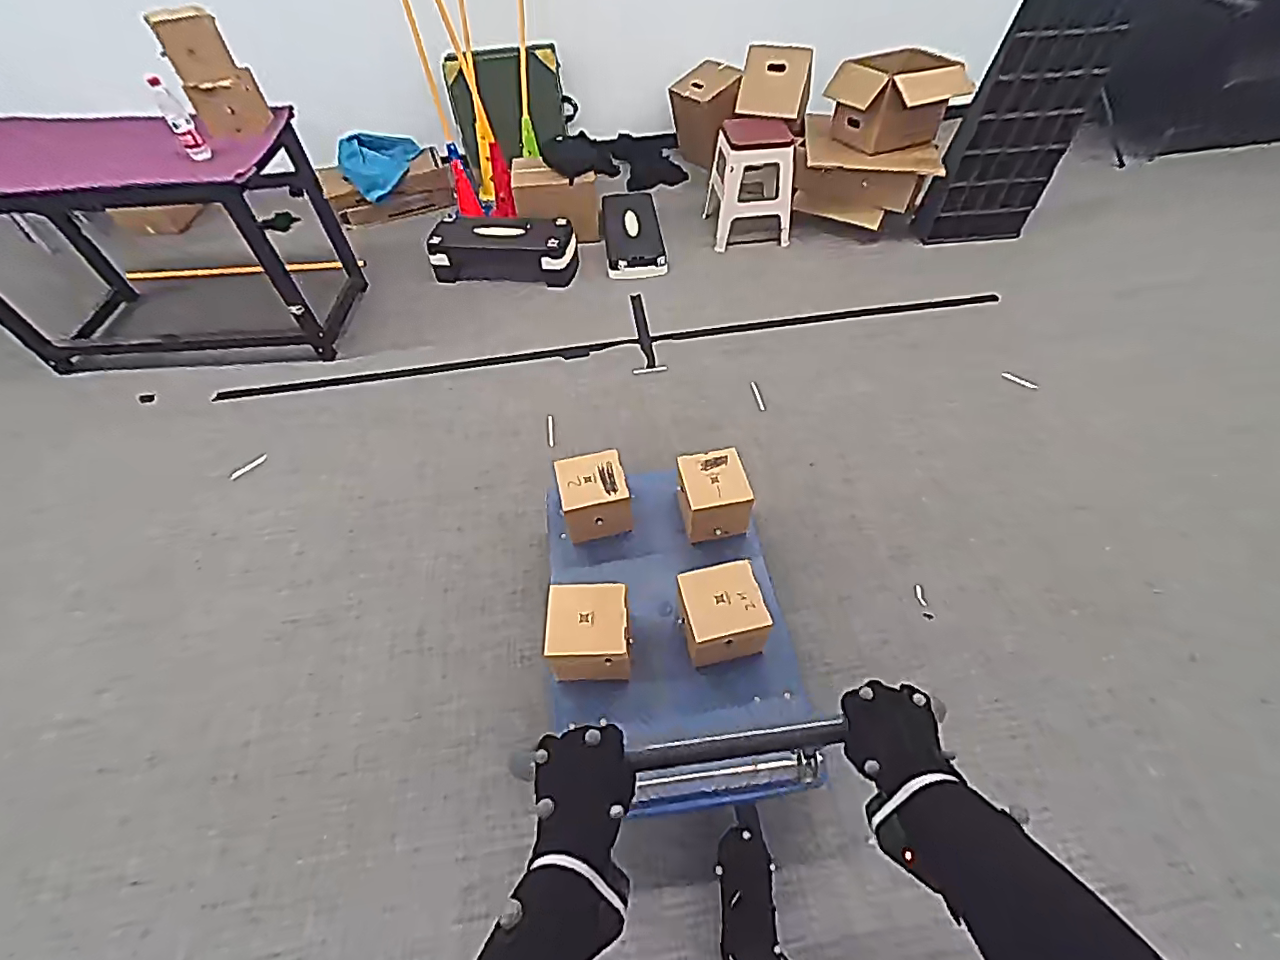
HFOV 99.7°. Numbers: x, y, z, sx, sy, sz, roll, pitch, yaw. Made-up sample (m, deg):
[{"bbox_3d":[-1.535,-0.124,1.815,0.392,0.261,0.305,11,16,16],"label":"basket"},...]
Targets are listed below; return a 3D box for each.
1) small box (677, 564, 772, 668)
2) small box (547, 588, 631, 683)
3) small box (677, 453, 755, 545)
[{"bbox_3d":[0.191,0.324,1.270,0.179,0.176,0.168,-11,54,-6],"label":"small box"},{"bbox_3d":[-0.111,0.364,1.253,0.179,0.176,0.168,-2,53,-1],"label":"small box"},{"bbox_3d":[0.198,0.053,1.473,0.168,0.176,0.179,-10,54,-5],"label":"small box"}]
